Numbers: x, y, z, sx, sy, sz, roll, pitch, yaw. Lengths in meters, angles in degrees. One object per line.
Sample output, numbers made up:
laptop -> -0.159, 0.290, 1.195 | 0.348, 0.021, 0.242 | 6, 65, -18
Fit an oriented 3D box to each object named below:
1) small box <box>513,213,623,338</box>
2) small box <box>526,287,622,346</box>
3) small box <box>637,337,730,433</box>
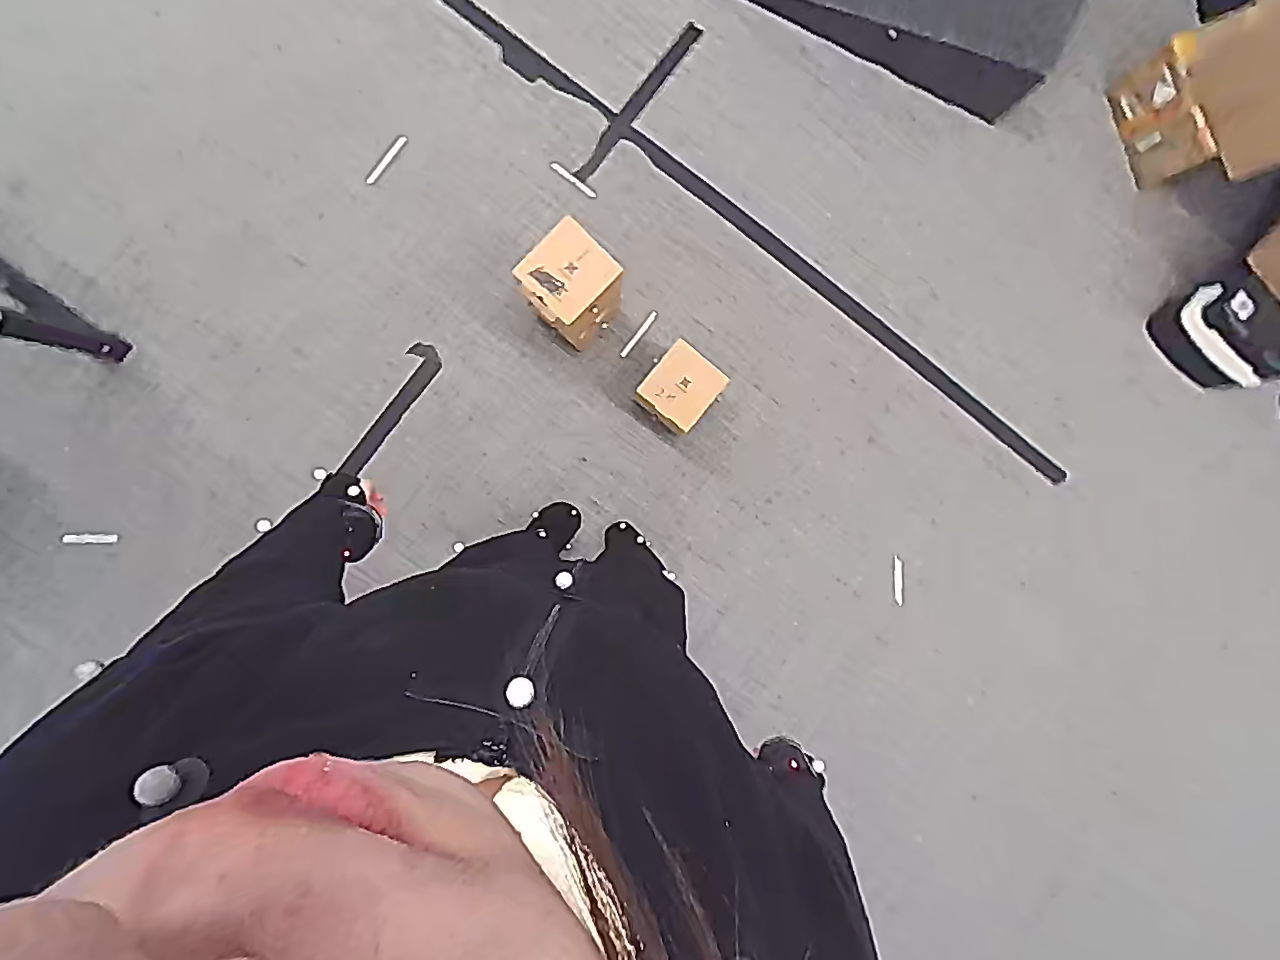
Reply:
small box -> -0.154, -0.446, 1.215 | 0.168, 0.176, 0.179 | 44, 89, -5
small box -> -0.164, -0.461, 1.379 | 0.179, 0.176, 0.168 | 40, 90, -5
small box -> 0.103, -0.238, 1.405 | 0.168, 0.176, 0.179 | 40, 90, -4
